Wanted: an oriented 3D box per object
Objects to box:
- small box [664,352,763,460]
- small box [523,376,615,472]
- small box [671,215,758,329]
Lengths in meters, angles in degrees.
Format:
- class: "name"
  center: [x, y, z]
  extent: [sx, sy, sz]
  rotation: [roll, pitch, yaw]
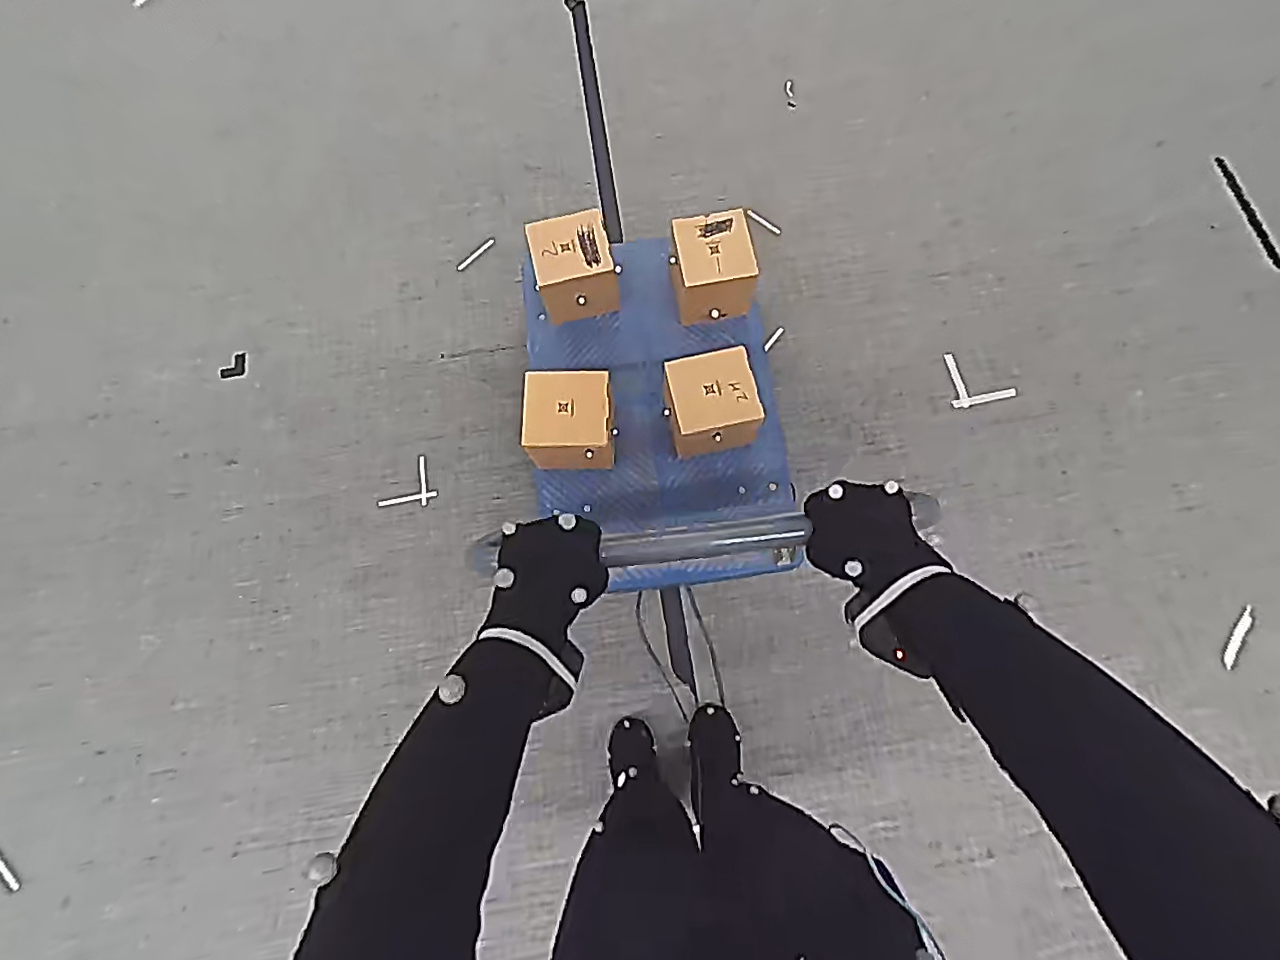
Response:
- class: "small box"
  center: [0.154, -0.155, 1.188]
  extent: [0.179, 0.176, 0.168]
  rotation: [-12, 75, -1]
- class: "small box"
  center: [-0.149, -0.117, 1.188]
  extent: [0.179, 0.176, 0.168]
  rotation: [-1, 75, 0]
- class: "small box"
  center: [0.167, -0.483, 1.273]
  extent: [0.168, 0.176, 0.179]
  rotation: [-10, 76, 0]
